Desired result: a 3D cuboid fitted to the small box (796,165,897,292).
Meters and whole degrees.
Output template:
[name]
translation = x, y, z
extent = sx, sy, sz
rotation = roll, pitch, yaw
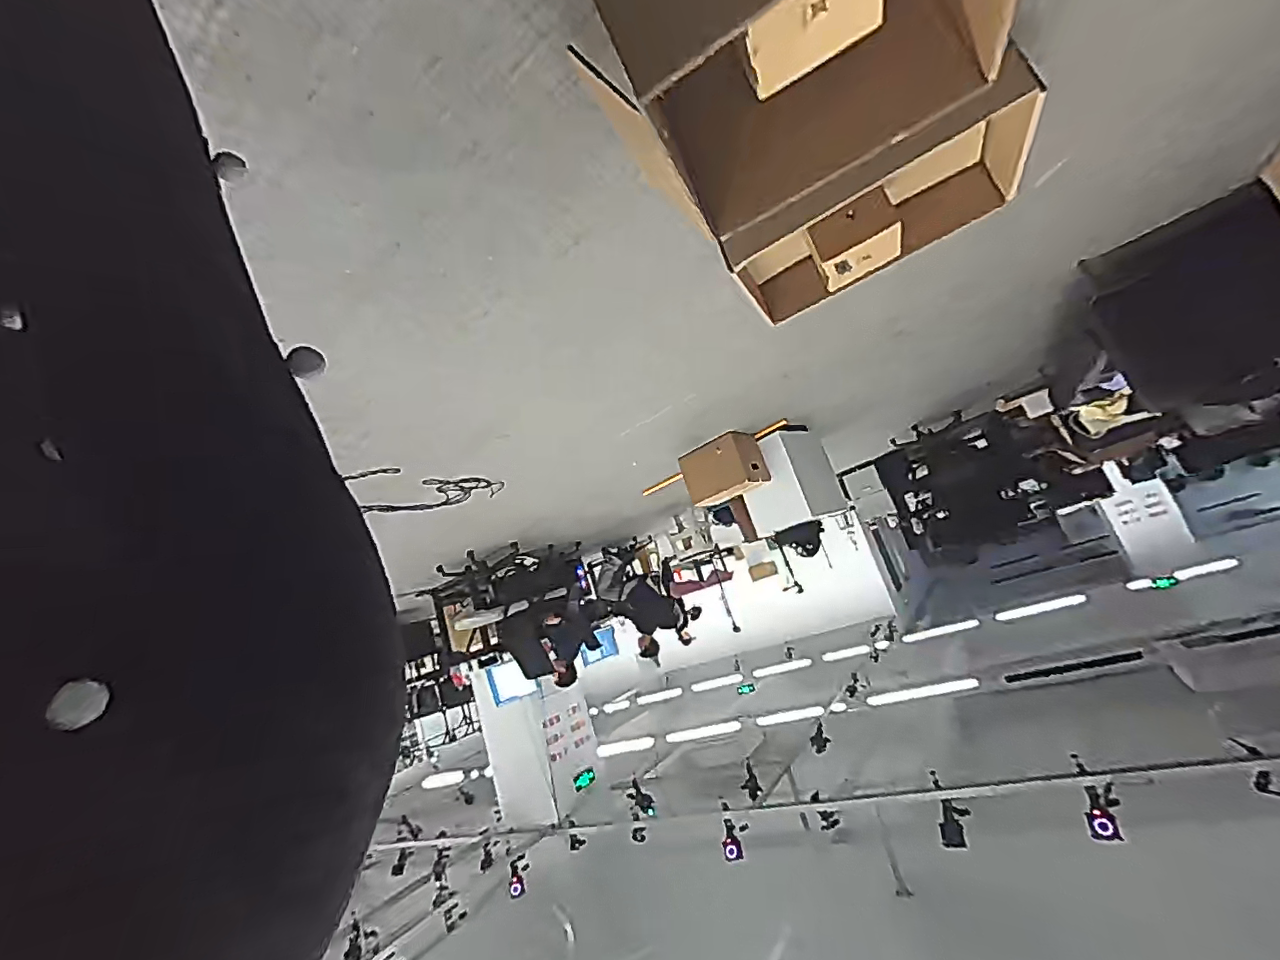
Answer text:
[small box]
translation = 0.480, -0.586, 1.270
extent = 0.179, 0.176, 0.168
rotation = -25, 166, 21
